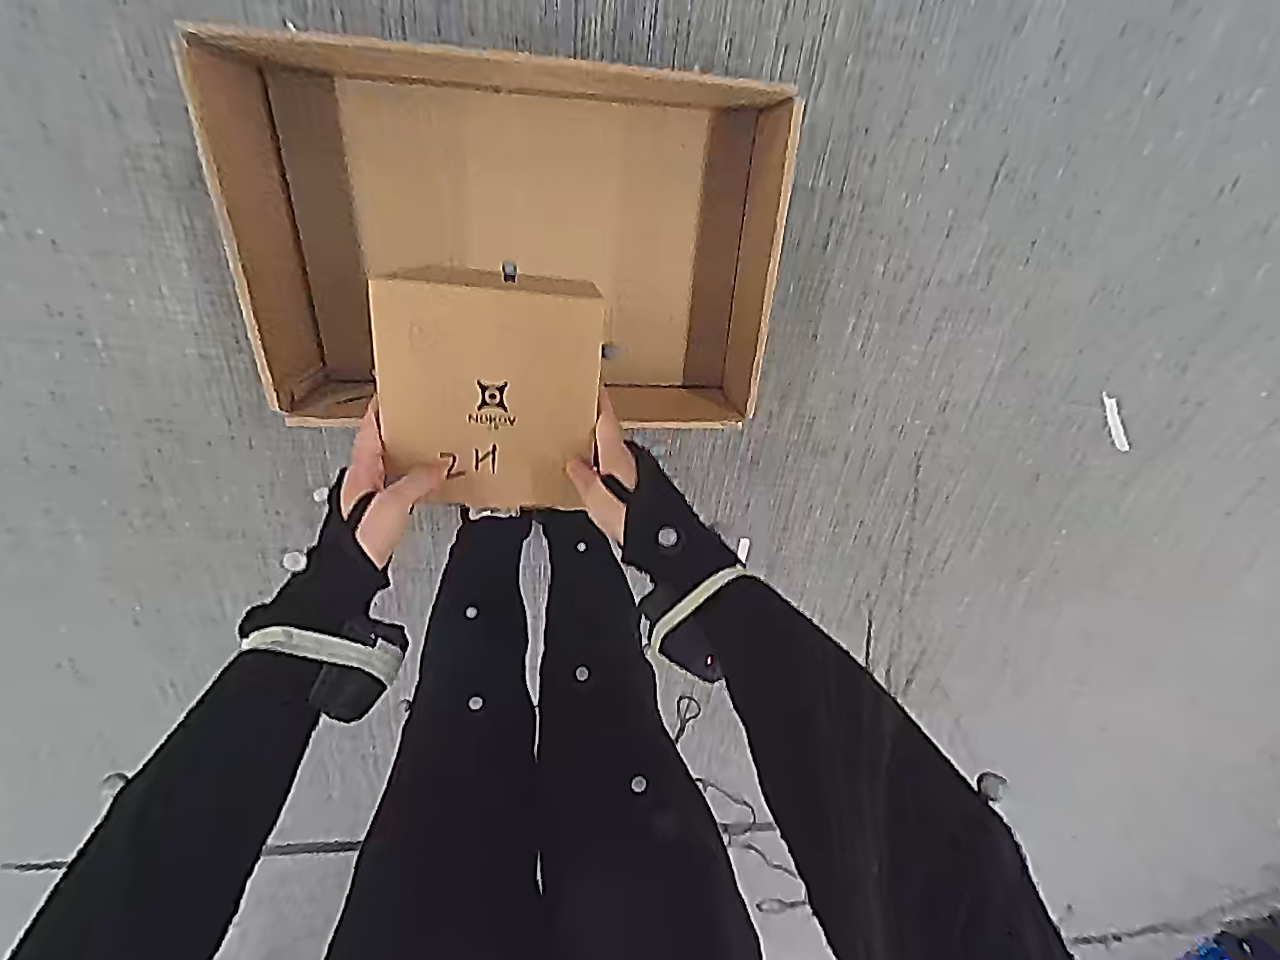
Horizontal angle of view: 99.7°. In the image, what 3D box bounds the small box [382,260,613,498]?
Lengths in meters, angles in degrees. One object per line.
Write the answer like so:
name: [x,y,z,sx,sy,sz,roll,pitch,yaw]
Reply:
small box: [-0.121,-0.099,0.494,0.168,0.176,0.179,3,114,-10]
